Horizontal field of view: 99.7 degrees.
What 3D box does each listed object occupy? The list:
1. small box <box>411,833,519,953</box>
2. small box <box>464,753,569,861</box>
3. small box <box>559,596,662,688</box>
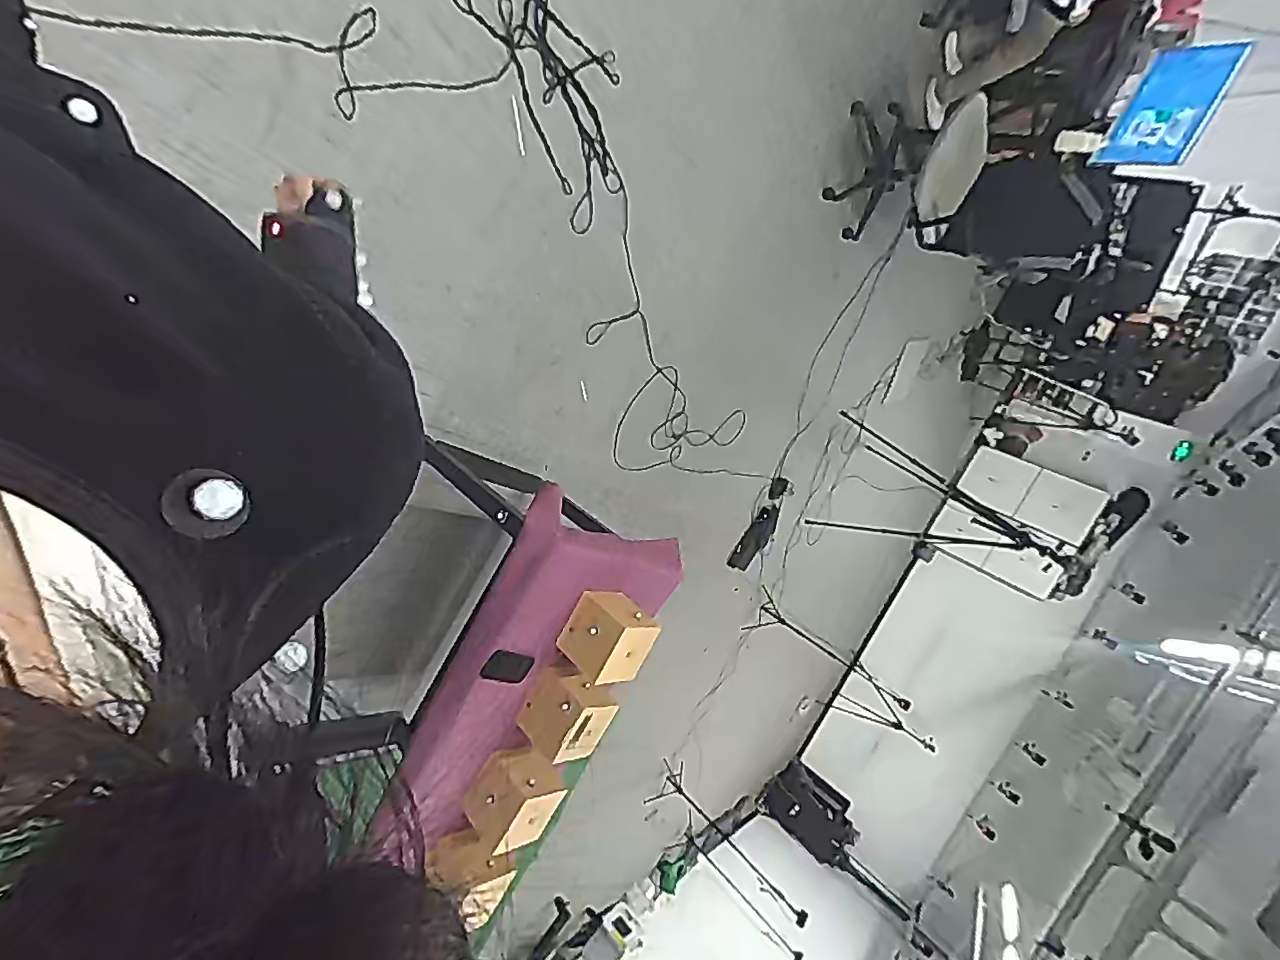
[{"bbox_3d":[-0.464,1.075,1.430,0.168,0.176,0.179,-59,145,-2],"label":"small box"},{"bbox_3d":[-0.329,0.852,1.429,0.168,0.176,0.179,-58,145,0],"label":"small box"},{"bbox_3d":[-0.081,0.417,1.416,0.179,0.176,0.168,21,98,-55],"label":"small box"}]
